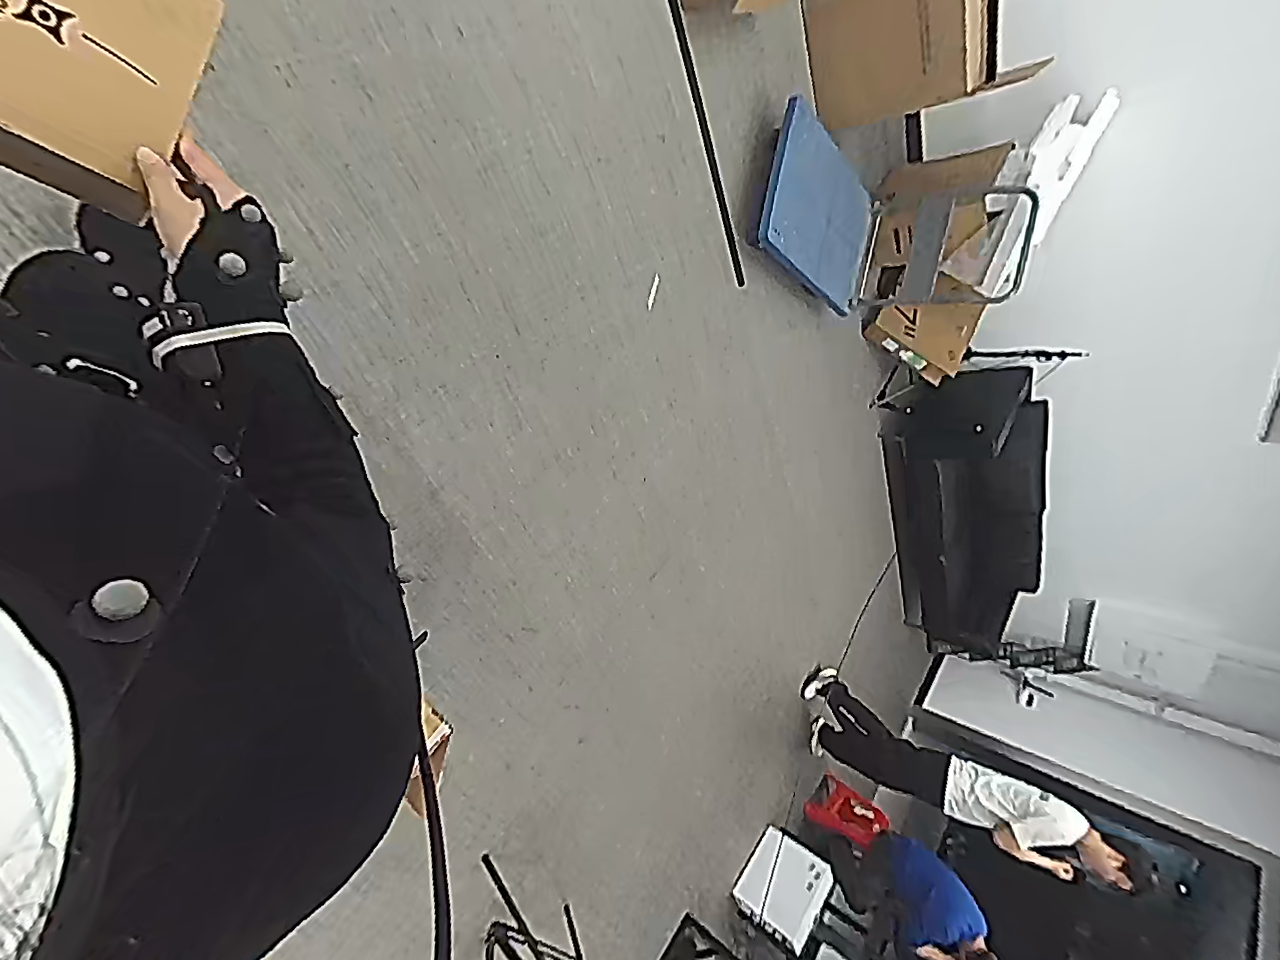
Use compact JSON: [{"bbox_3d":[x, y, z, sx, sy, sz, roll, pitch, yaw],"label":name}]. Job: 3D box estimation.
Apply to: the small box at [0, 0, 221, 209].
[{"bbox_3d":[-0.457,-0.328,0.402,0.179,0.176,0.168,20,88,-48],"label":"small box"}]
